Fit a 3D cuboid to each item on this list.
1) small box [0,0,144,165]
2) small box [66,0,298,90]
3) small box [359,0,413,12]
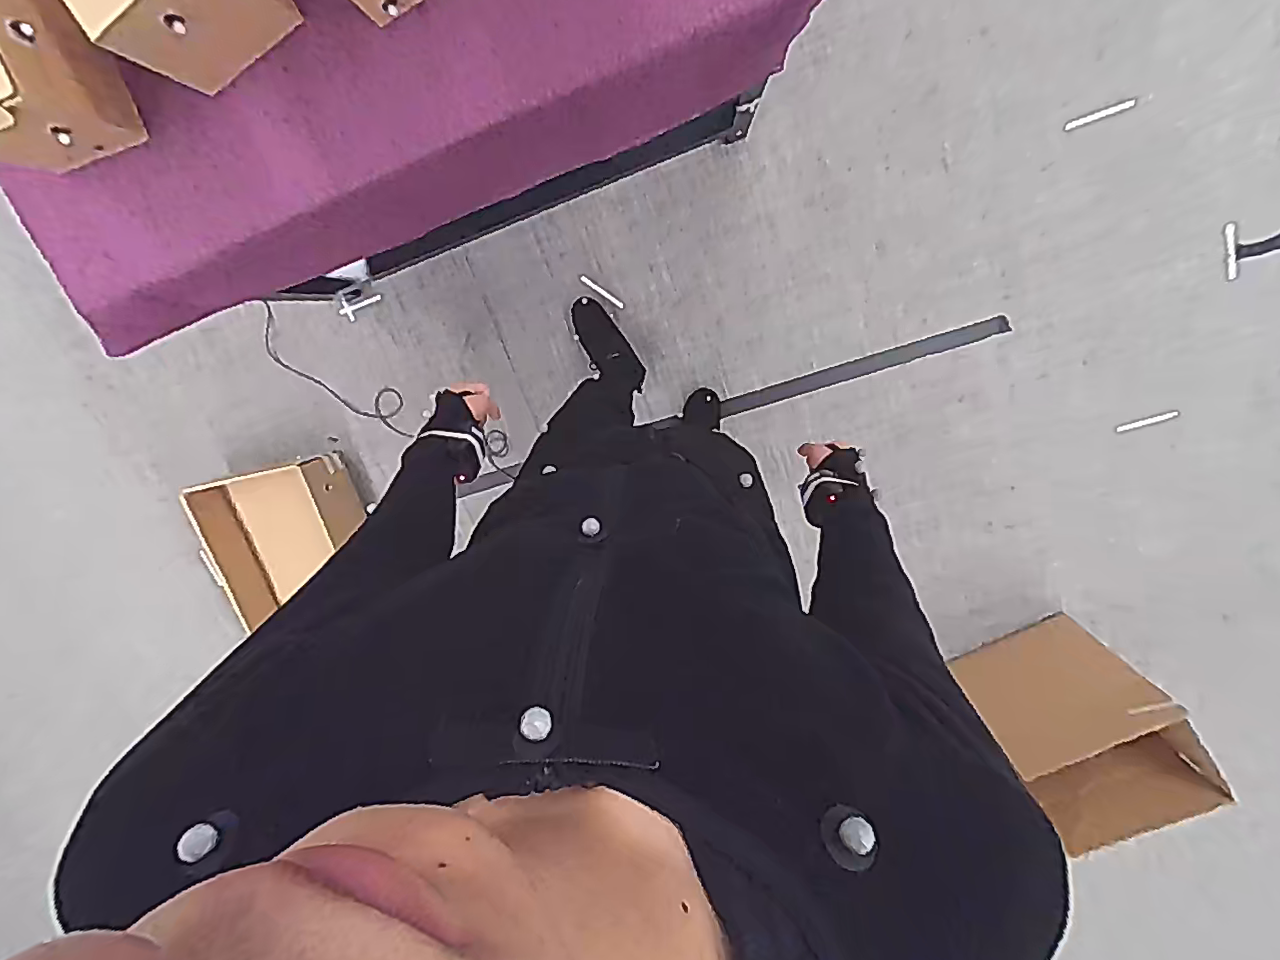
[{"bbox_3d":[-0.803,-0.524,0.686,0.168,0.176,0.179,-13,106,7],"label":"small box"},{"bbox_3d":[-0.562,-0.614,0.640,0.179,0.176,0.168,-27,104,11],"label":"small box"},{"bbox_3d":[-0.307,-0.678,0.602,0.168,0.176,0.179,-22,104,10],"label":"small box"}]
